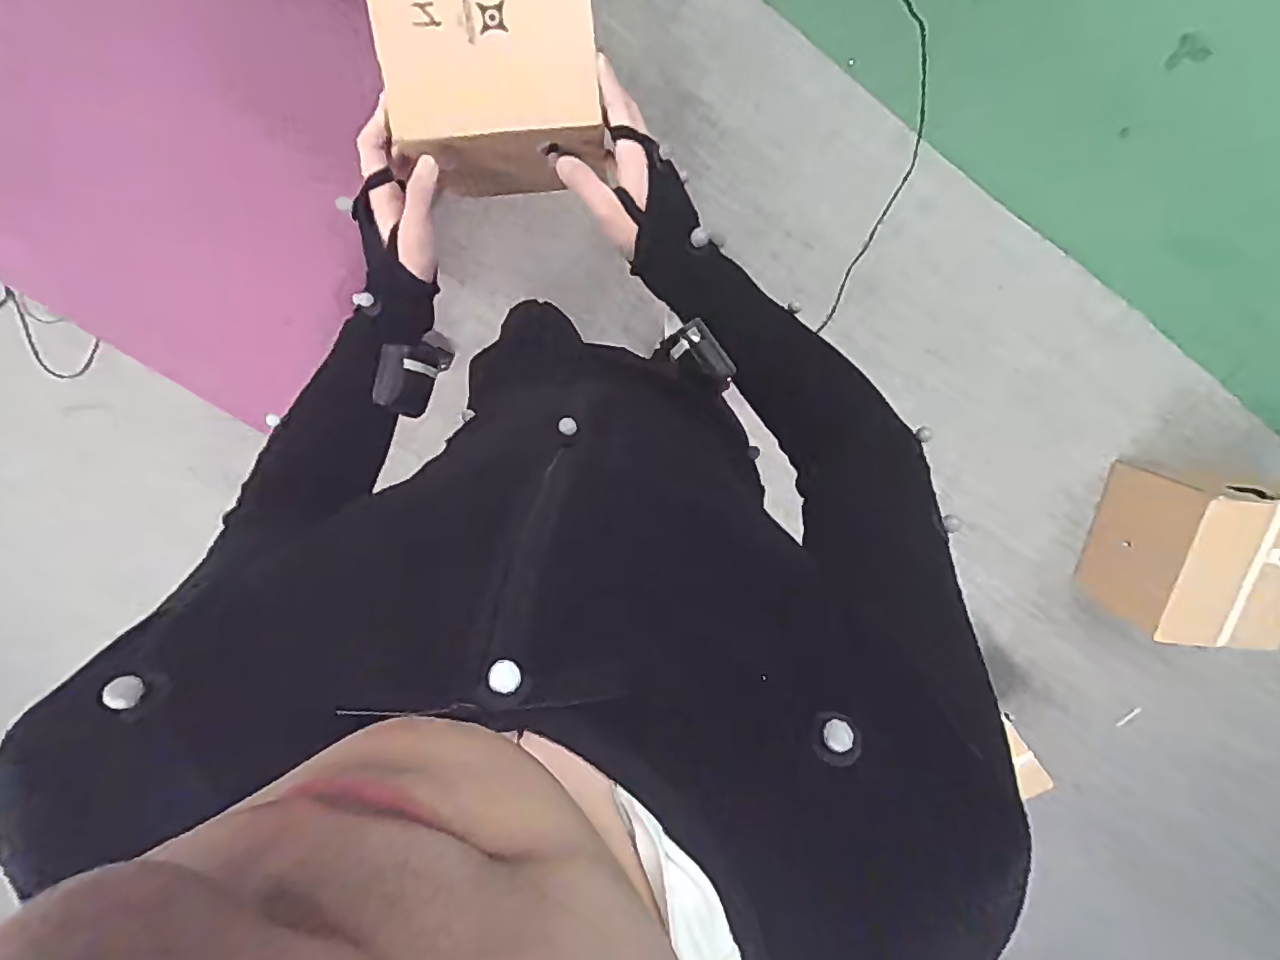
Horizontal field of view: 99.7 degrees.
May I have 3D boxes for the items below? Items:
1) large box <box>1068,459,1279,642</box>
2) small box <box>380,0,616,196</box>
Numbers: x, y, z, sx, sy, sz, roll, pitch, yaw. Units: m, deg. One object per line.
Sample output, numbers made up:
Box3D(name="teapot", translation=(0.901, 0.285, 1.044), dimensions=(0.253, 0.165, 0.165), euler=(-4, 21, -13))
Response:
Box3D(name="large box", translation=(1.483, 0.181, 1.487), dimensions=(0.320, 0.320, 0.408), euler=(3, 108, 2))
Box3D(name="small box", translation=(-0.117, -0.378, 0.499), dimensions=(0.179, 0.176, 0.168), euler=(-5, 103, -1))
